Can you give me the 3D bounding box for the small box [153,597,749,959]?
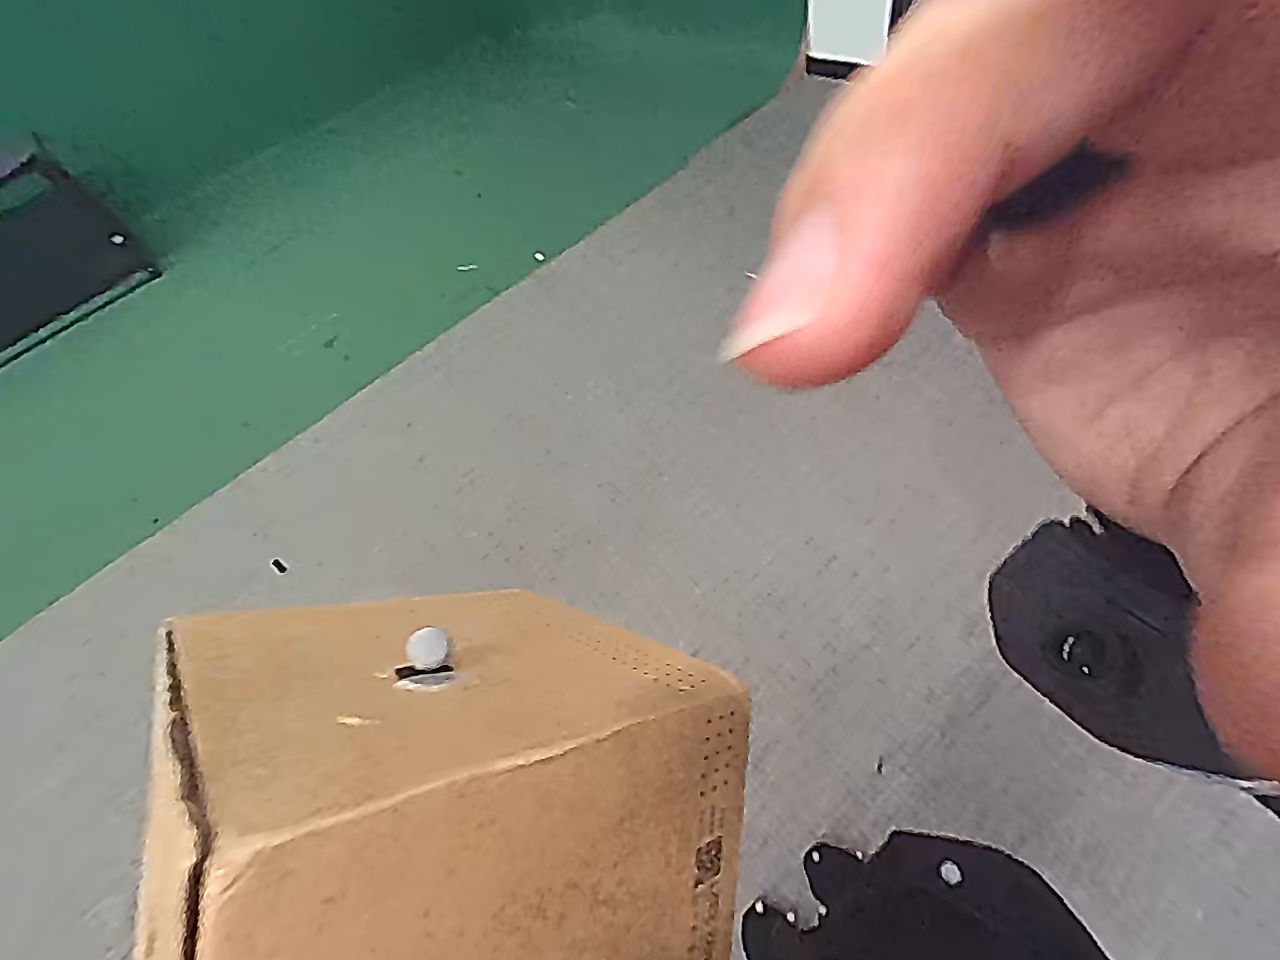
[{"bbox_3d":[-0.077,0.149,0.218,0.179,0.176,0.168,6,90,47],"label":"small box"}]
